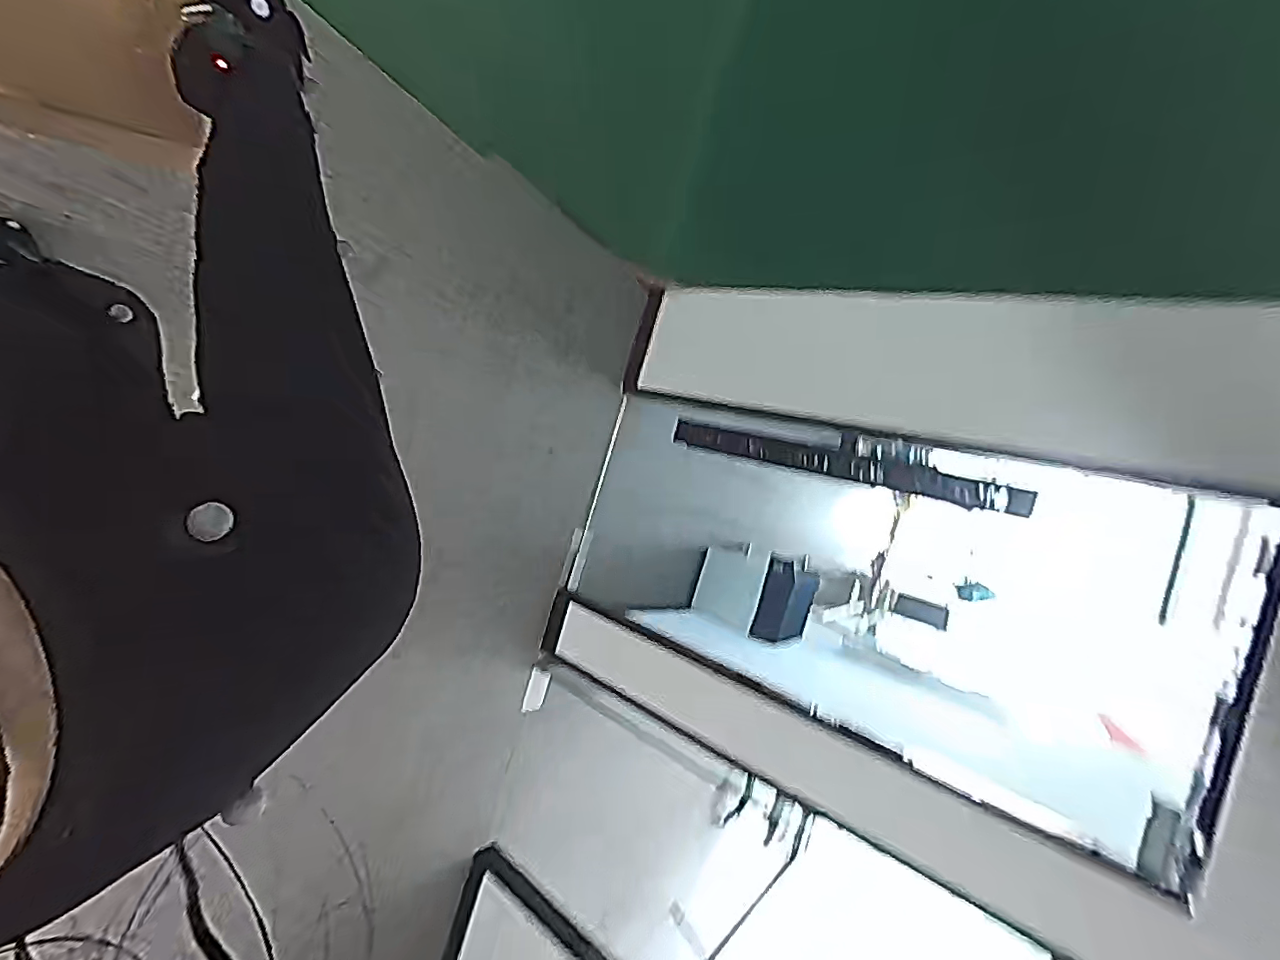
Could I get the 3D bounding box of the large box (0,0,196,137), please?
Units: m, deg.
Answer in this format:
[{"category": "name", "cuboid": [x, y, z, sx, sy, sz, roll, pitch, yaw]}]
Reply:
[{"category": "large box", "cuboid": [-0.662, -0.536, 0.455, 0.408, 0.320, 0.320, -7, 116, -44]}]
